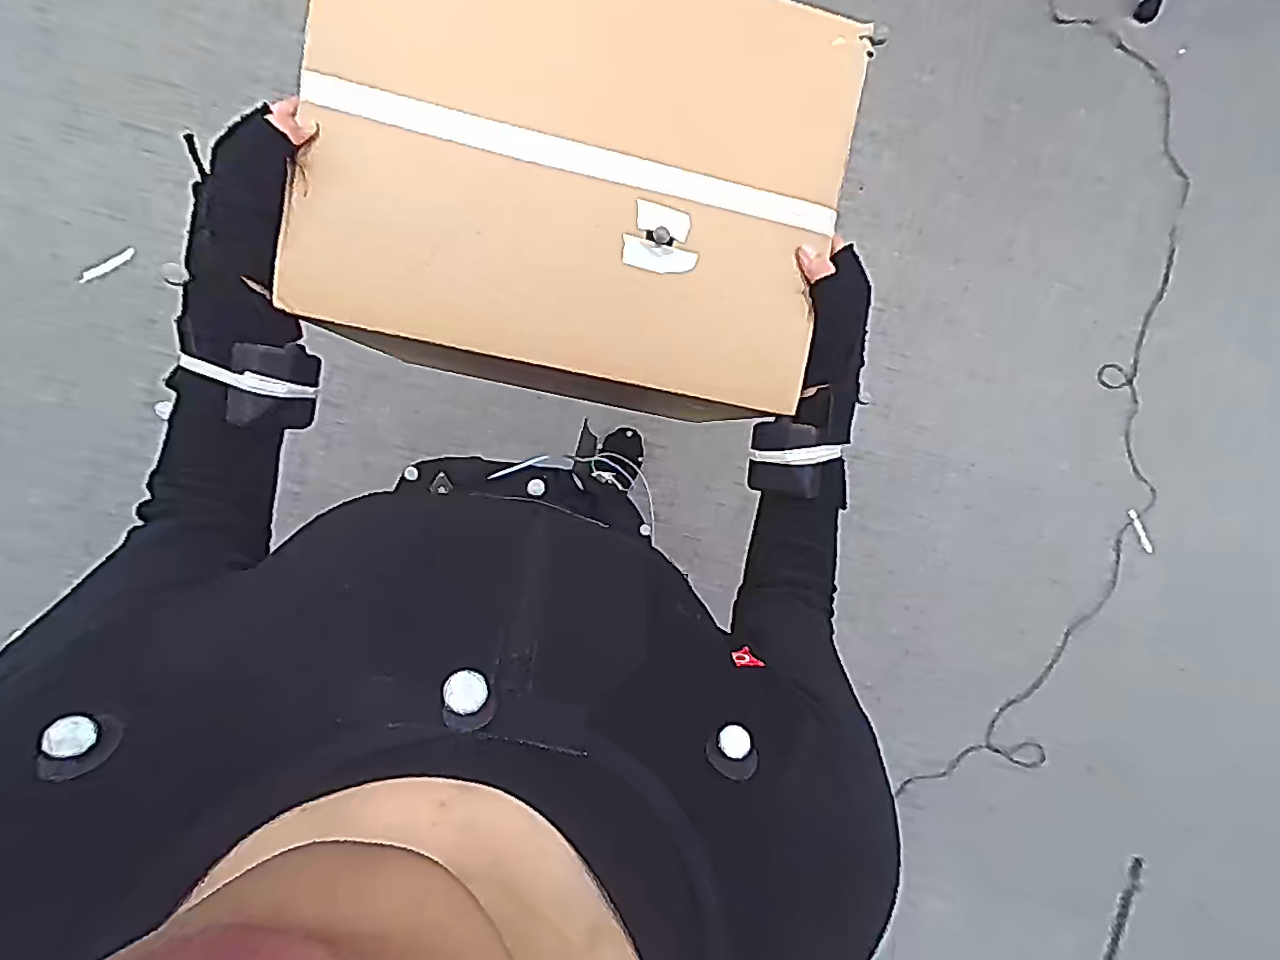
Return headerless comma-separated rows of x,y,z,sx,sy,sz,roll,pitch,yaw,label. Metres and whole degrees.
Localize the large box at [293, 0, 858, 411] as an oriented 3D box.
-0.063,-0.261,0.566,0.408,0.320,0.320,10,95,-9,large box
